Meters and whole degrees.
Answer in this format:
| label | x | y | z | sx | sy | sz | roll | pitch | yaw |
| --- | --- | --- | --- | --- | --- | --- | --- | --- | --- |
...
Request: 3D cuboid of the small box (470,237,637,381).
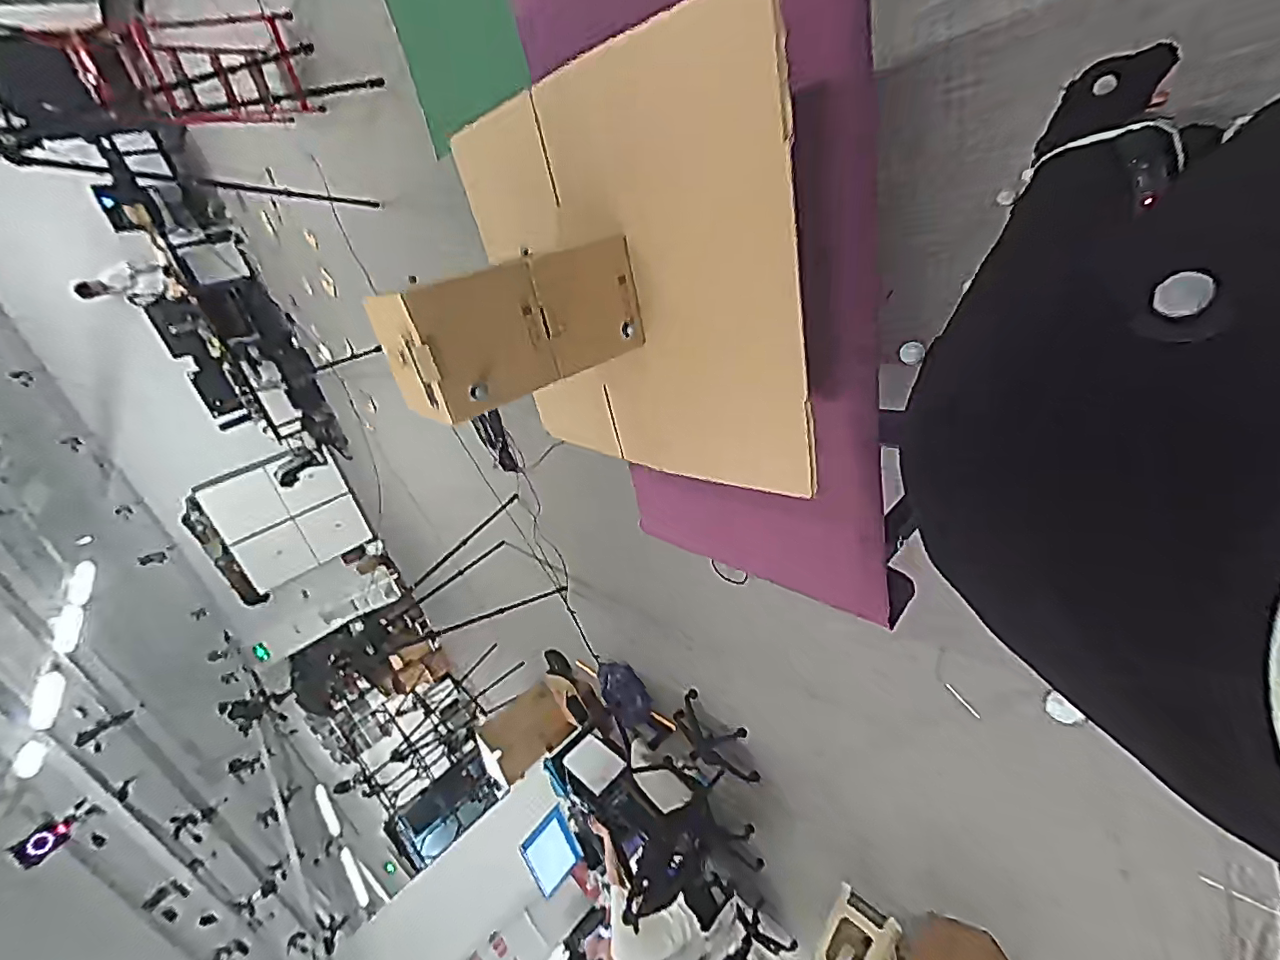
| label | x | y | z | sx | sy | sz | roll | pitch | yaw |
| --- | --- | --- | --- | --- | --- | --- | --- | --- | --- |
| small box | -0.122 | -0.260 | 0.828 | 0.179 | 0.176 | 0.168 | 13 | 127 | 47 |
